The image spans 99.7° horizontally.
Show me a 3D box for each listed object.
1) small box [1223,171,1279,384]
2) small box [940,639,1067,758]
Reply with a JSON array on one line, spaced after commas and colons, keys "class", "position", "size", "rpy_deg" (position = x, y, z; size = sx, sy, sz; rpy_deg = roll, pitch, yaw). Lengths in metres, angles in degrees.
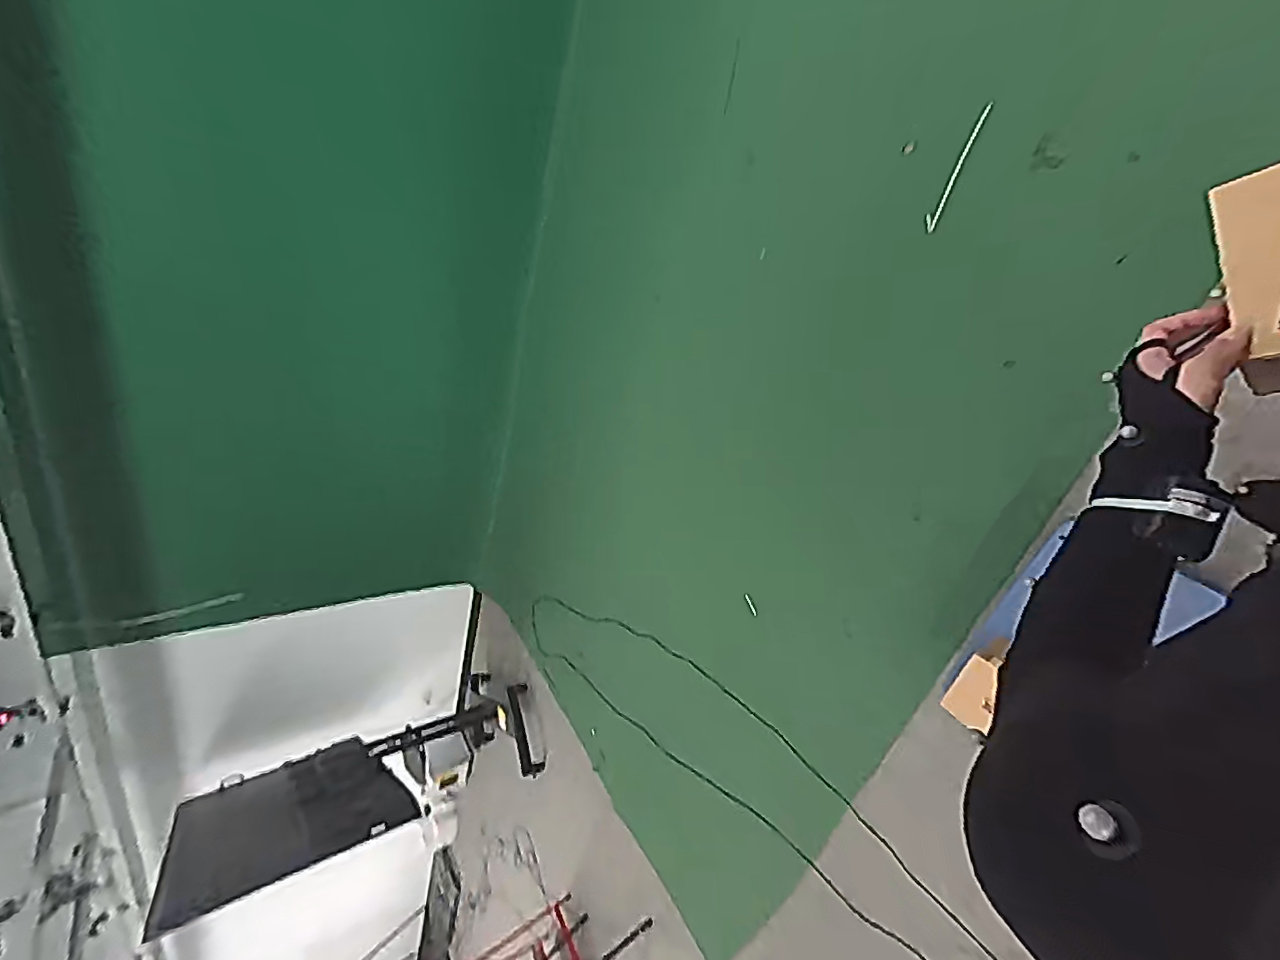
[{"class": "small box", "position": [0.676, -0.195, 0.498], "size": [0.168, 0.176, 0.179], "rpy_deg": [-9, 77, 50]}, {"class": "small box", "position": [0.858, 0.506, 1.274], "size": [0.168, 0.176, 0.179], "rpy_deg": [40, 123, 41]}]
